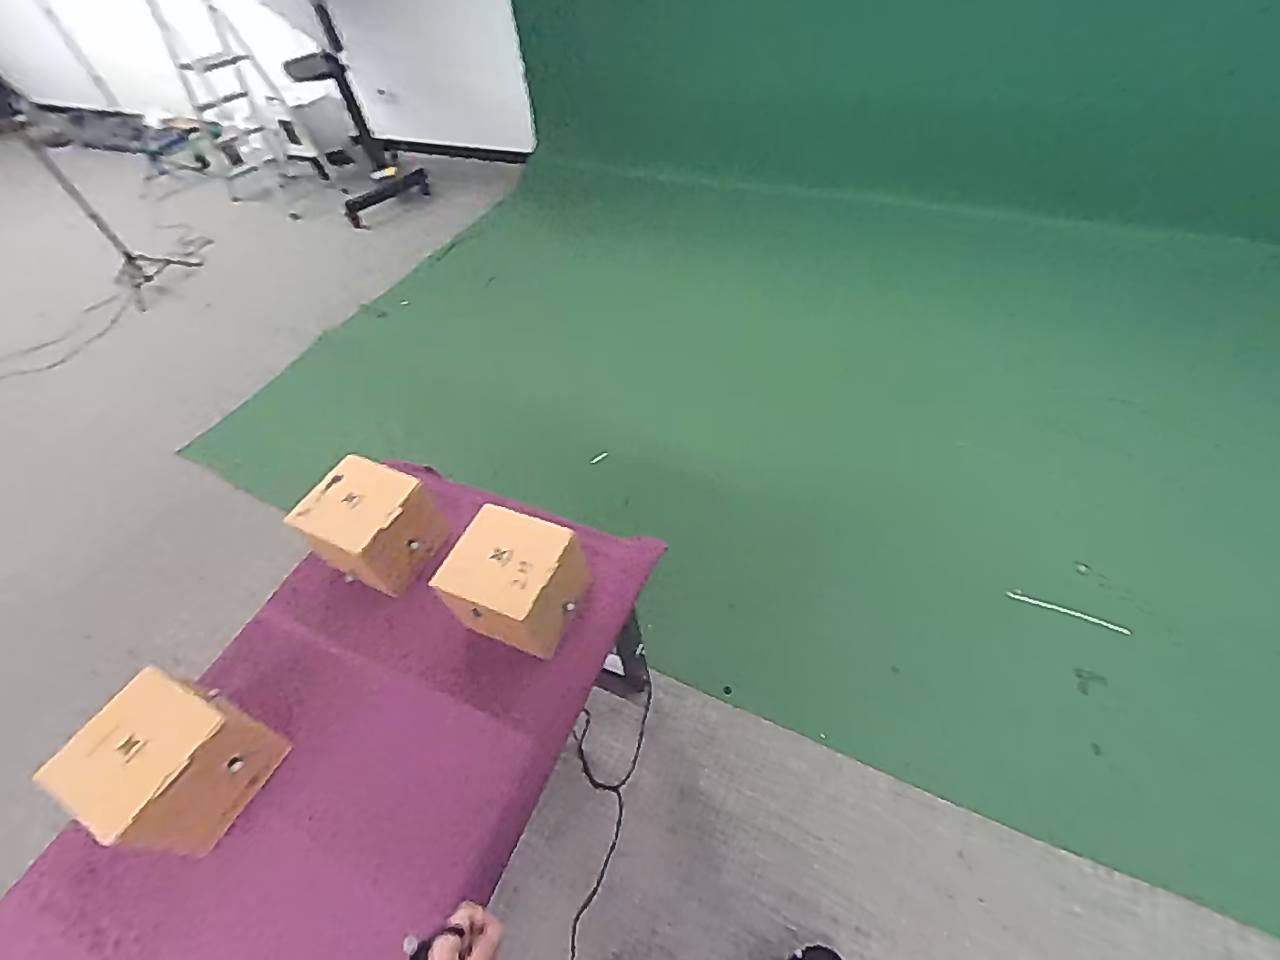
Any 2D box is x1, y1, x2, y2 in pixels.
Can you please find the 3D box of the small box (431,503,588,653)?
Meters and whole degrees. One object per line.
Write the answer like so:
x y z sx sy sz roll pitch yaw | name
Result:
-0.208 0.169 0.915 0.179 0.176 0.168 16 56 18 | small box

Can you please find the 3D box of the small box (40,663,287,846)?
-0.668 0.401 0.783 0.179 0.176 0.168 19 55 20 | small box

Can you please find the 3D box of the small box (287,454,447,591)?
-0.496 0.085 1.013 0.179 0.176 0.168 19 56 17 | small box
